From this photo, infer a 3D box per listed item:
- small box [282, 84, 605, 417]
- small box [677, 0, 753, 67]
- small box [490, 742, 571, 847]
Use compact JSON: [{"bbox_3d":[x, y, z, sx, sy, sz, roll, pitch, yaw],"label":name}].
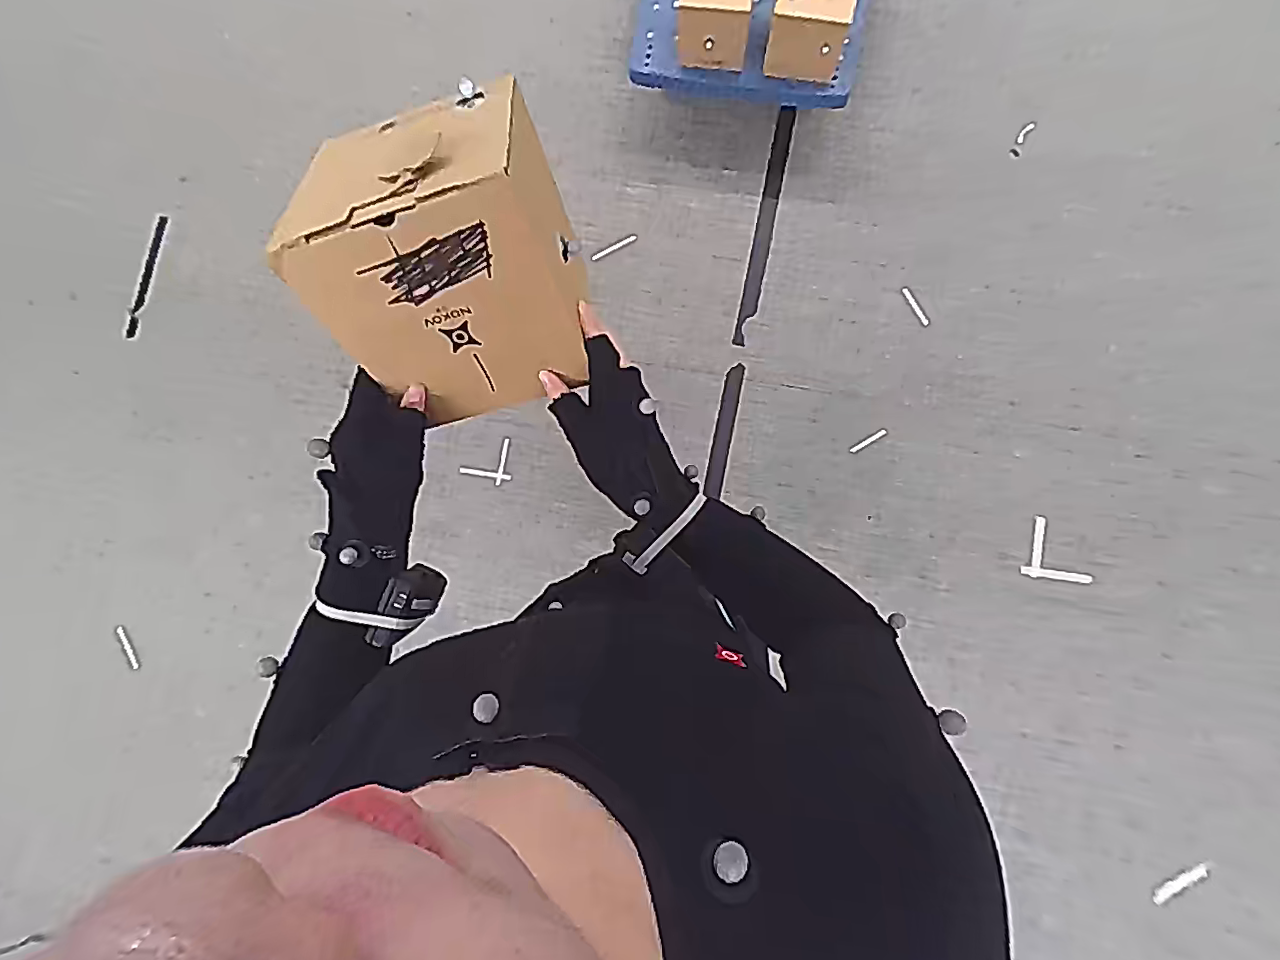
[{"bbox_3d":[-0.135,-0.185,0.439,0.168,0.179,0.176,-13,53,8],"label":"small box"},{"bbox_3d":[0.186,-1.148,1.307,0.168,0.176,0.179,9,86,5],"label":"small box"},{"bbox_3d":[-0.278,0.808,1.402,0.168,0.176,0.179,2,86,5],"label":"small box"}]
